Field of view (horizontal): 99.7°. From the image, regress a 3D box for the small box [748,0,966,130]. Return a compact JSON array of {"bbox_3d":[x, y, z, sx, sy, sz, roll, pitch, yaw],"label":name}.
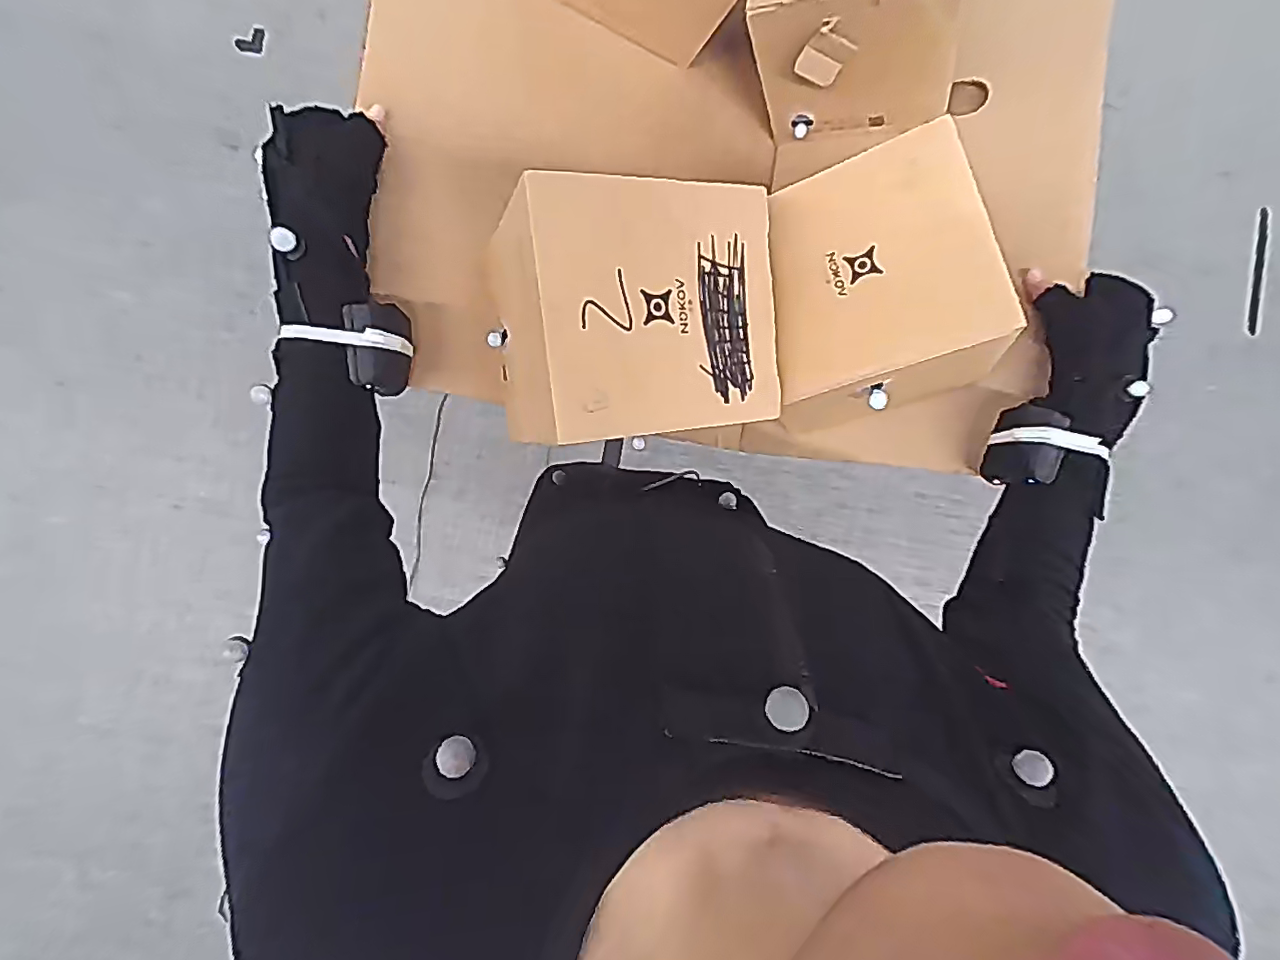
[{"bbox_3d":[0.209,-0.454,0.495,0.168,0.176,0.179,10,87,23],"label":"small box"}]
